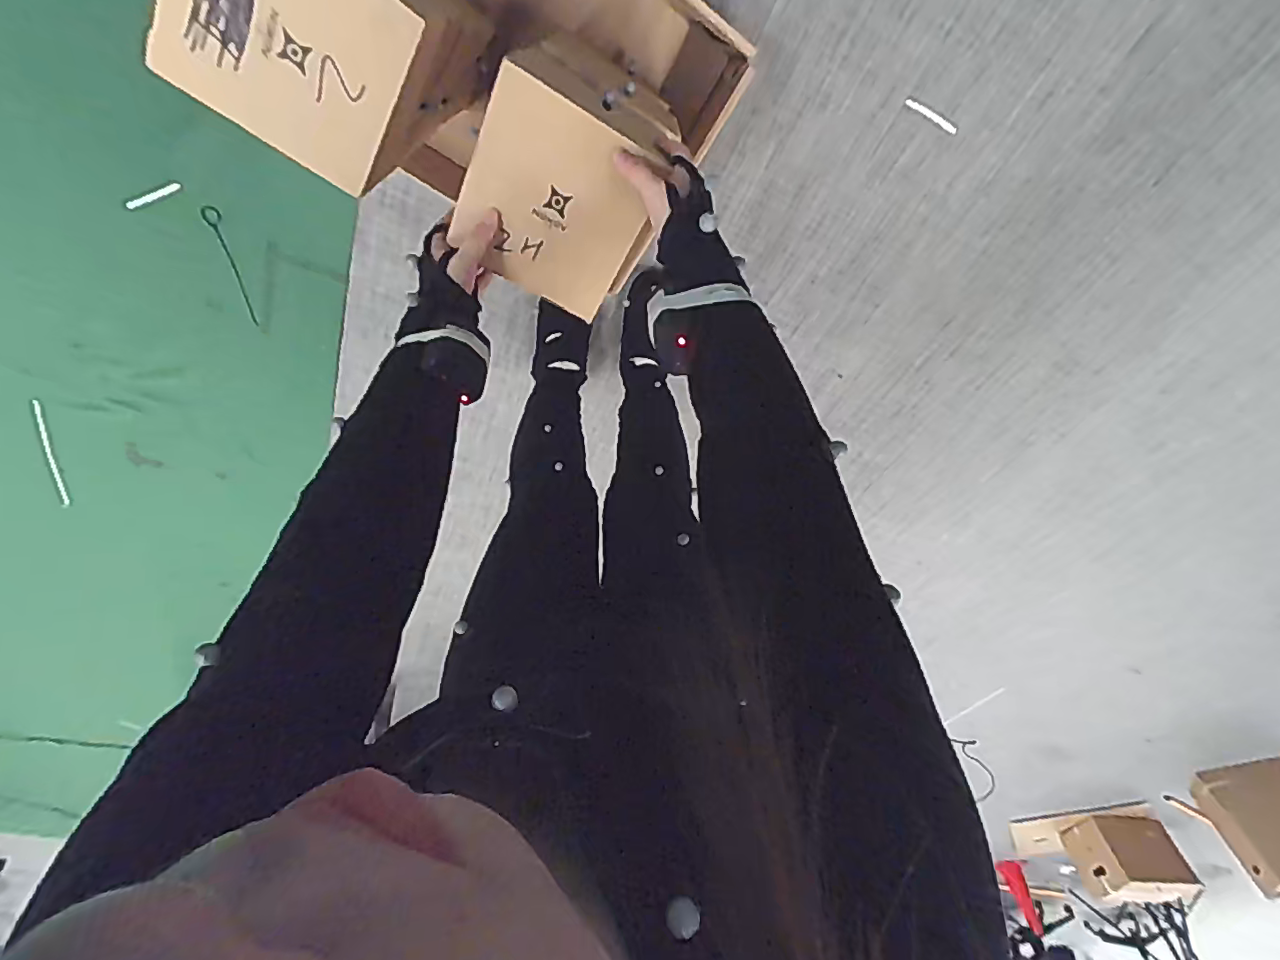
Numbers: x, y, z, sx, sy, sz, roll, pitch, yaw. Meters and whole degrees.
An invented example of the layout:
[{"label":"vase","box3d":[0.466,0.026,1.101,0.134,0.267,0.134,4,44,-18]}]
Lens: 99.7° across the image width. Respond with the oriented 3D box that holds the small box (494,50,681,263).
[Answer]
[{"label":"small box","box3d":[-0.063,-0.424,0.703,0.179,0.176,0.168,25,126,-18]}]
